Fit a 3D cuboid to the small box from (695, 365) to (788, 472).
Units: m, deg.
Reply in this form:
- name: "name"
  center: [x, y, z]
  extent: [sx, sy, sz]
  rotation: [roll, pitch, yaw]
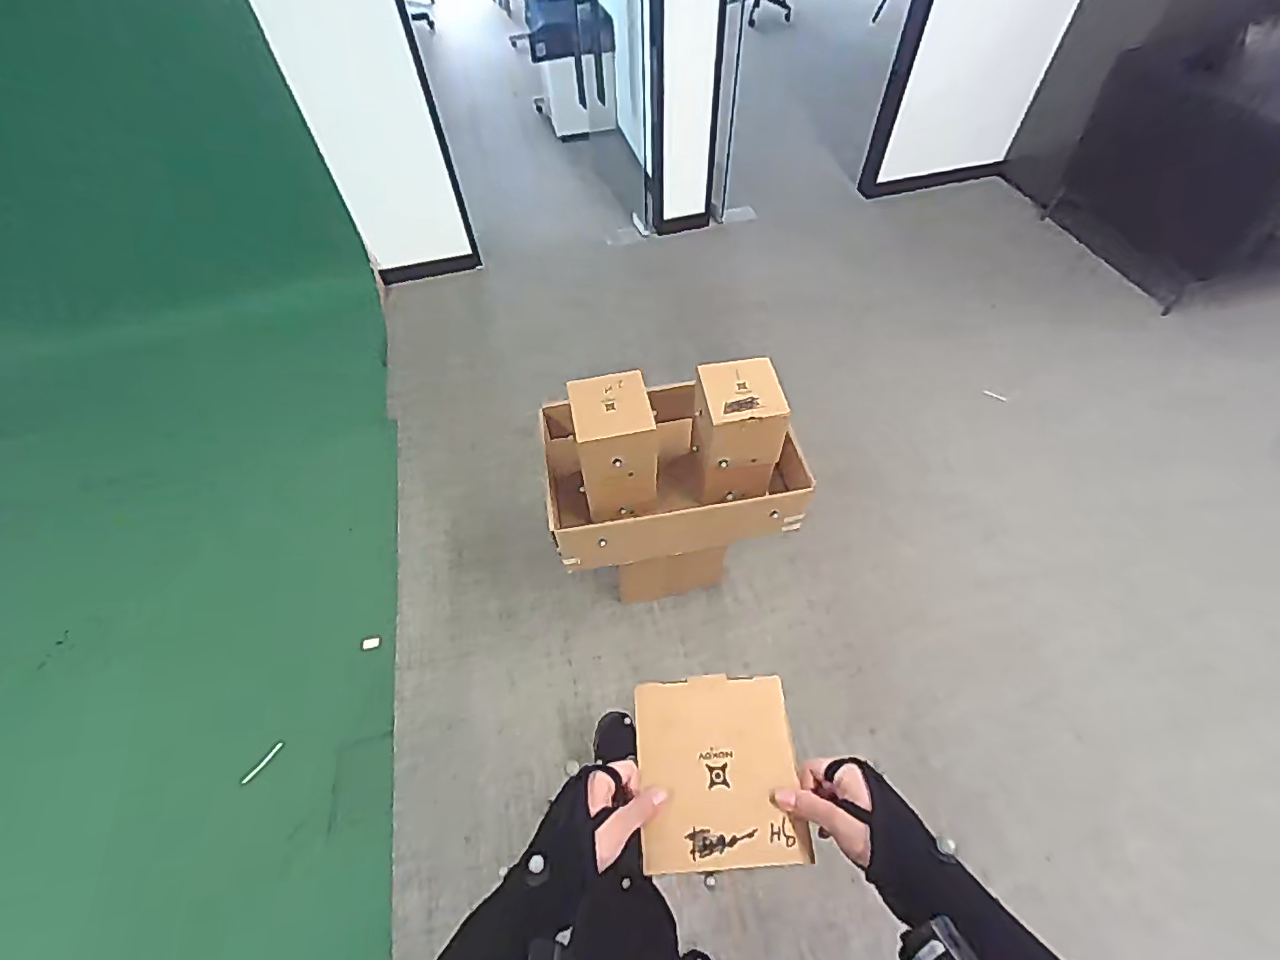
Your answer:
- name: "small box"
  center: [0.220, -0.131, 1.217]
  extent: [0.168, 0.176, 0.179]
  rotation: [-7, 54, -2]

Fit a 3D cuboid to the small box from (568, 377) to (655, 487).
- name: "small box"
  center: [-0.061, -0.098, 1.200]
  extent: [0.168, 0.176, 0.179]
  rotation: [-9, 56, -6]

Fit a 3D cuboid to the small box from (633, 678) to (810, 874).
- name: "small box"
  center: [0.076, 0.342, 0.622]
  extent: [0.168, 0.176, 0.179]
  rotation: [-2, 56, -2]
